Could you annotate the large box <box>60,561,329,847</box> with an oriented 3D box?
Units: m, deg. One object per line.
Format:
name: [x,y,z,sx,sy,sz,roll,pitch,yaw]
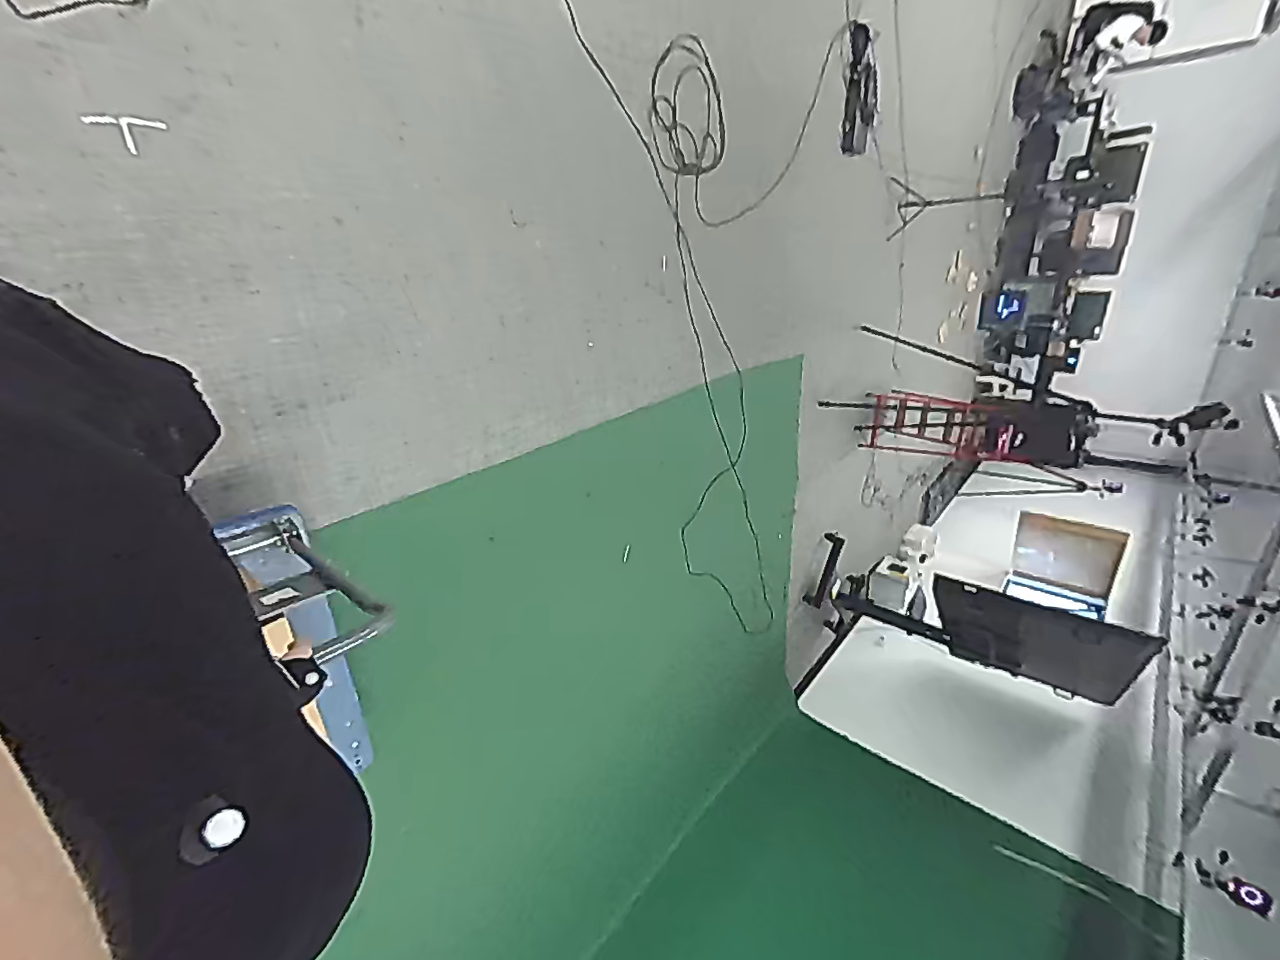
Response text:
large box: [-0.941,0.450,1.164,0.320,0.320,0.408,-24,121,-42]
